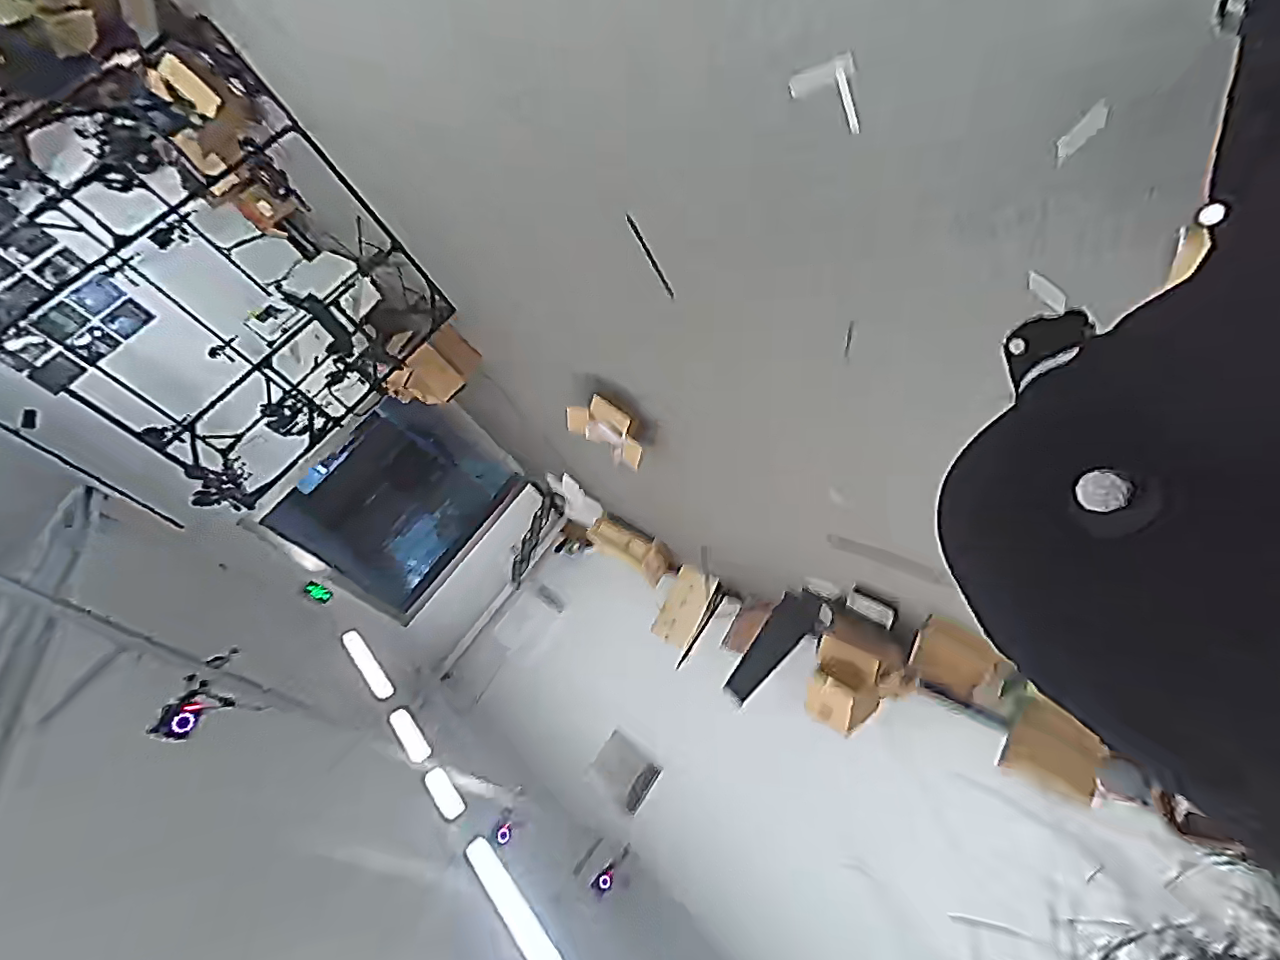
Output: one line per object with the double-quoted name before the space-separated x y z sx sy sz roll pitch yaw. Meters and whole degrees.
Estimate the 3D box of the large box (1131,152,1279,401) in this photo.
"large box" 1.195 -0.352 0.947 0.408 0.320 0.320 23 157 39
